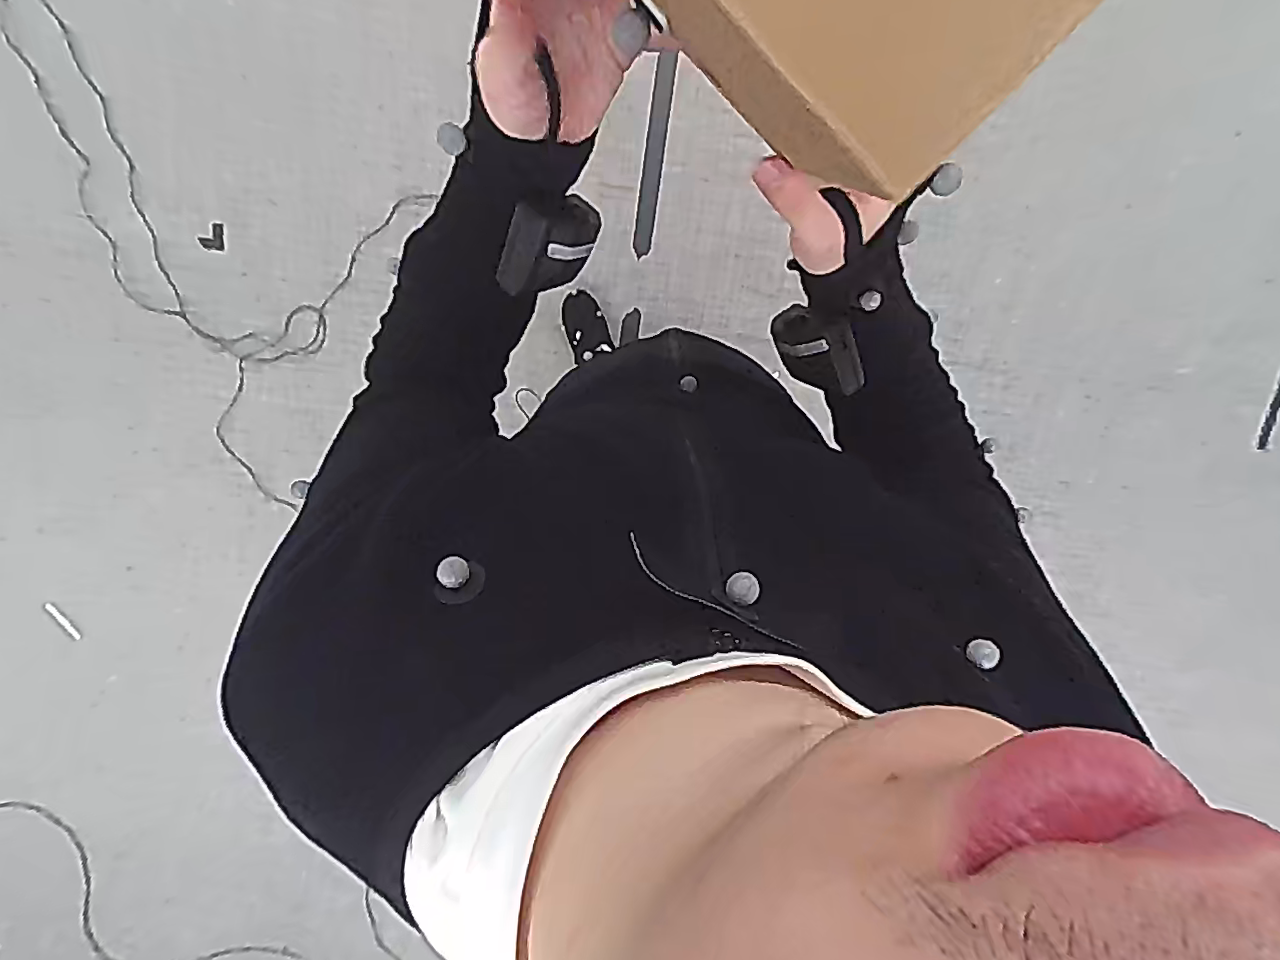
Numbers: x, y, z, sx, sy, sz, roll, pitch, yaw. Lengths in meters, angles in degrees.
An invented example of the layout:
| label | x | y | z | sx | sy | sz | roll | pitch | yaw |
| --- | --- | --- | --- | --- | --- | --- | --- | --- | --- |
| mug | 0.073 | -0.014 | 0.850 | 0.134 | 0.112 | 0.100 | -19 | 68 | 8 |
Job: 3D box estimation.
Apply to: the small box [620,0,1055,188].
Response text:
| label | x | y | z | sx | sy | sz | roll | pitch | yaw |
| --- | --- | --- | --- | --- | --- | --- | --- | --- | --- |
| small box | 0.062 | -0.223 | 0.157 | 0.168 | 0.176 | 0.179 | 36 | 119 | -16 |
